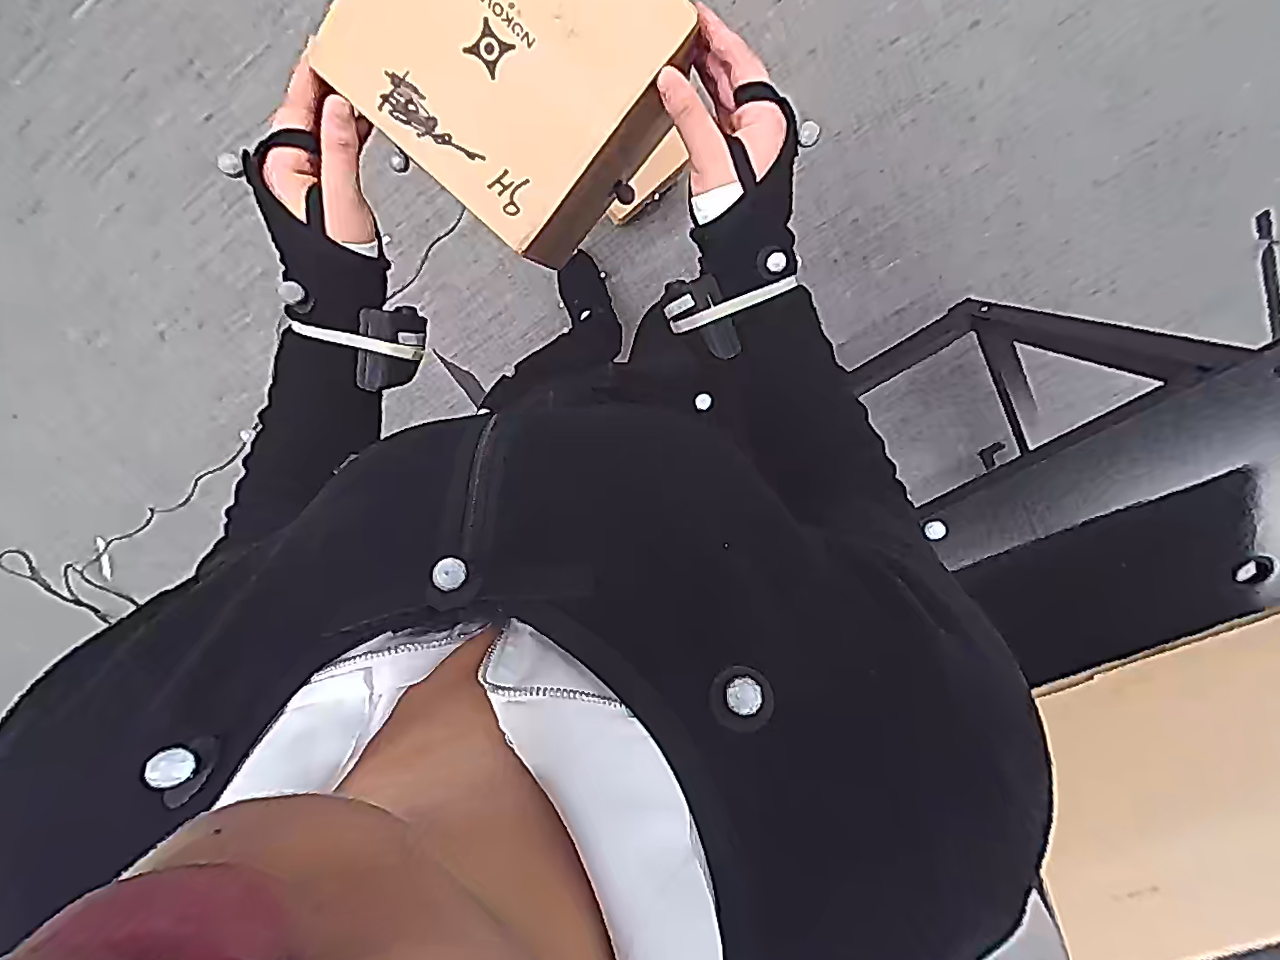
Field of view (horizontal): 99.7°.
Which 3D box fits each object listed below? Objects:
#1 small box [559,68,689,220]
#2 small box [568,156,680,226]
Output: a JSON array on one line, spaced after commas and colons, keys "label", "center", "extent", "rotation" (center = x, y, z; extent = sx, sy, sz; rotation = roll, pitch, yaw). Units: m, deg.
[{"label": "small box", "center": [-0.028, -0.620, 1.027], "extent": [0.179, 0.176, 0.168], "rotation": [-37, 109, 13]}, {"label": "small box", "center": [-0.033, -0.681, 1.177], "extent": [0.179, 0.176, 0.168], "rotation": [-34, 109, 14]}]
